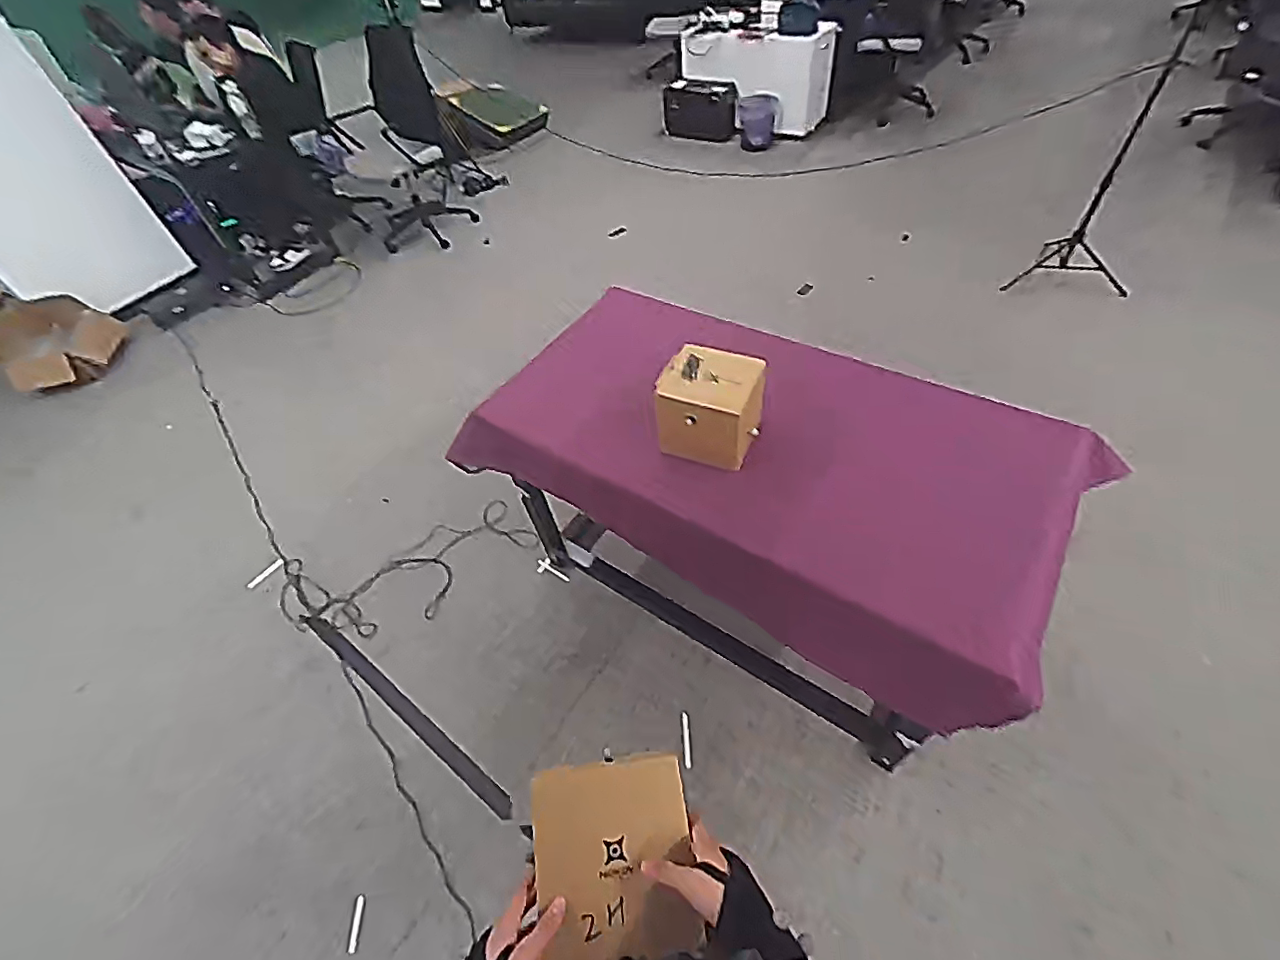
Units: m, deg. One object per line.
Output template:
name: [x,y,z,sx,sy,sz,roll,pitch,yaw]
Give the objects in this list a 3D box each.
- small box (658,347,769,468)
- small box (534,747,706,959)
small box: [0.153,-0.148,1.121,0.179,0.176,0.168,17,55,20]
small box: [-0.031,0.419,0.631,0.168,0.176,0.179,-6,66,-7]
